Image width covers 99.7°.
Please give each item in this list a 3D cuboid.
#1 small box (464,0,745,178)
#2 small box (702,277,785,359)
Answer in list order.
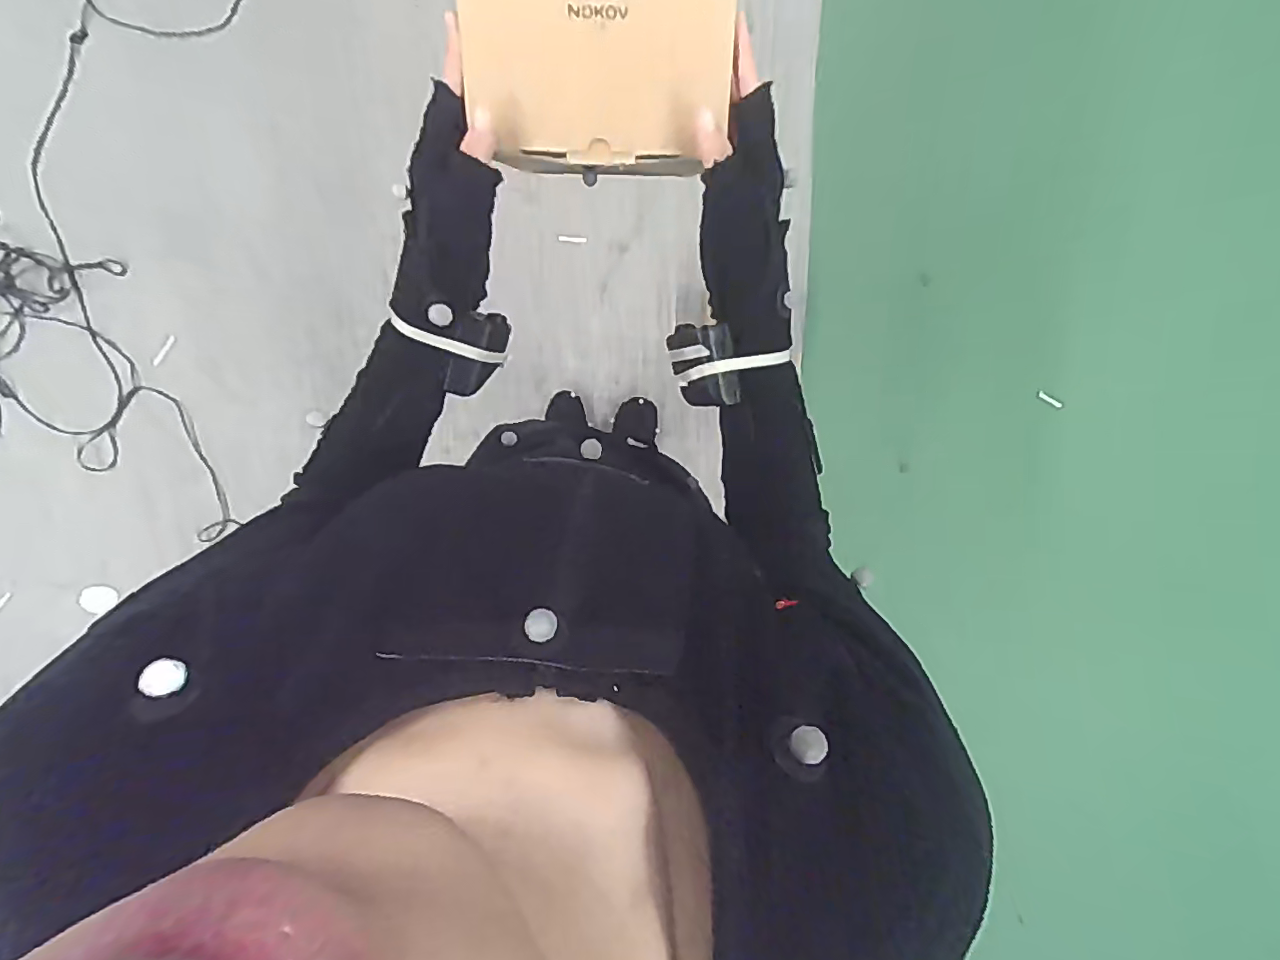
[{"bbox_3d":[-0.023,-0.320,0.381,0.168,0.176,0.179,0,117,-1],"label":"small box"},{"bbox_3d":[0.251,-0.396,1.351,0.168,0.176,0.179,1,98,-3],"label":"small box"}]
